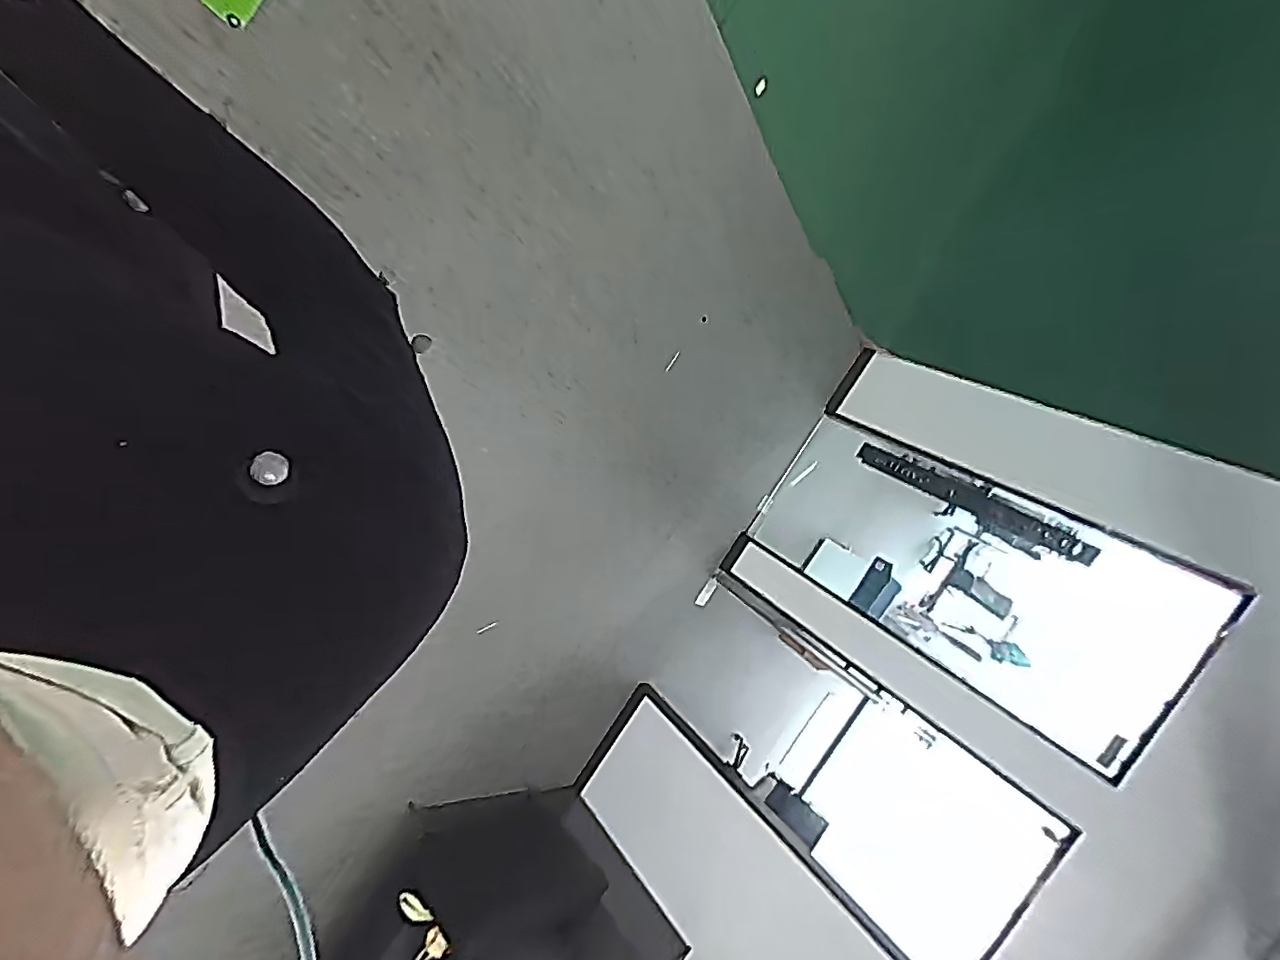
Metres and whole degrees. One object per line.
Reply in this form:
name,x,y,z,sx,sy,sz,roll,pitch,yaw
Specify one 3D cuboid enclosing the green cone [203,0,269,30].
green cone,-0.675,-0.923,0.887,0.200,0.368,0.202,-57,140,1
